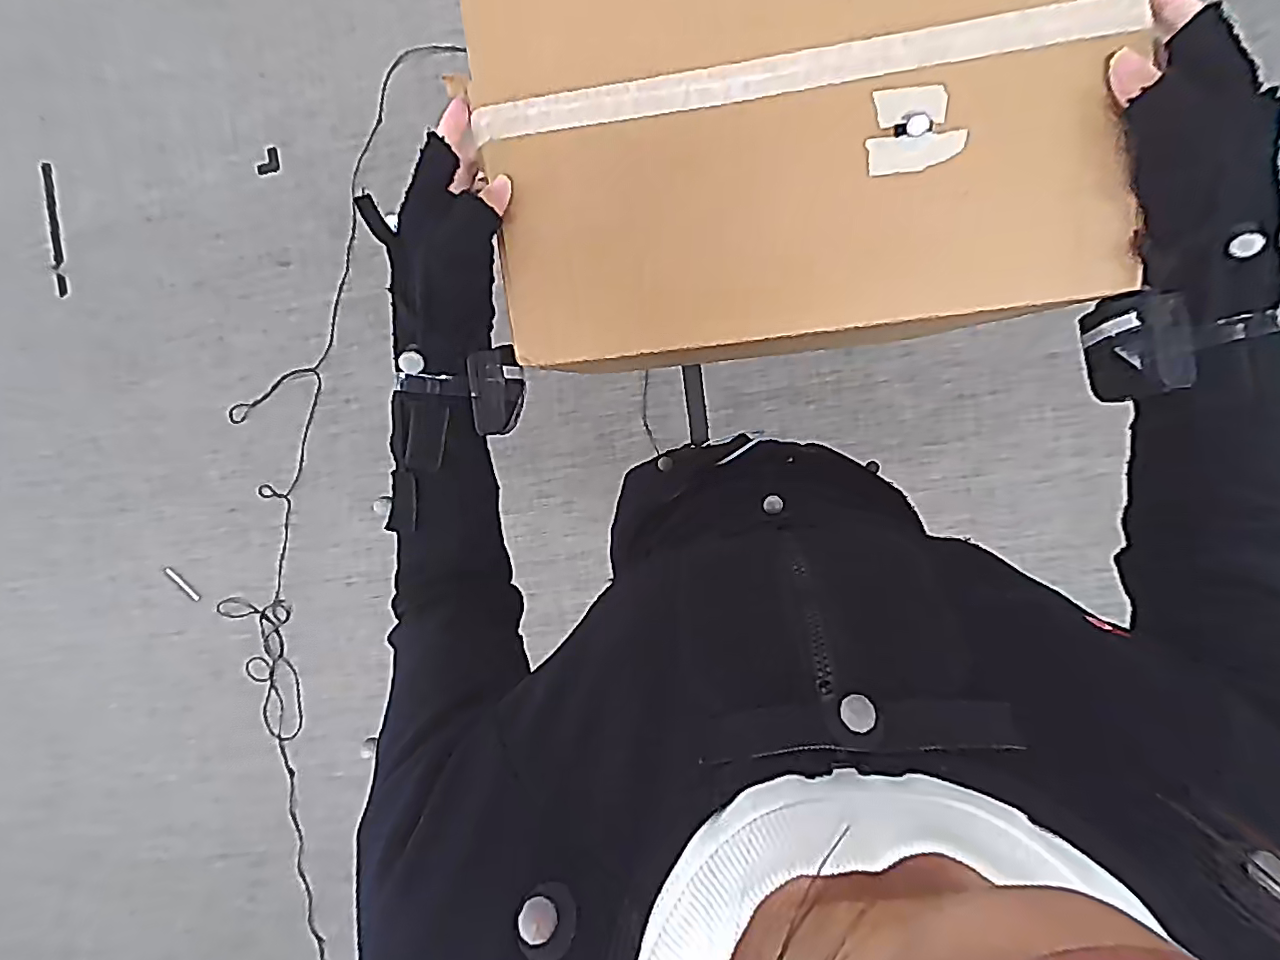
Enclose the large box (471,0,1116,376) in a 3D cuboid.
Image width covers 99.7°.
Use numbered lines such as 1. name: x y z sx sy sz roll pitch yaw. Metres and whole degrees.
1. large box: 0.104 -0.280 0.497 0.408 0.320 0.320 -6 100 4
